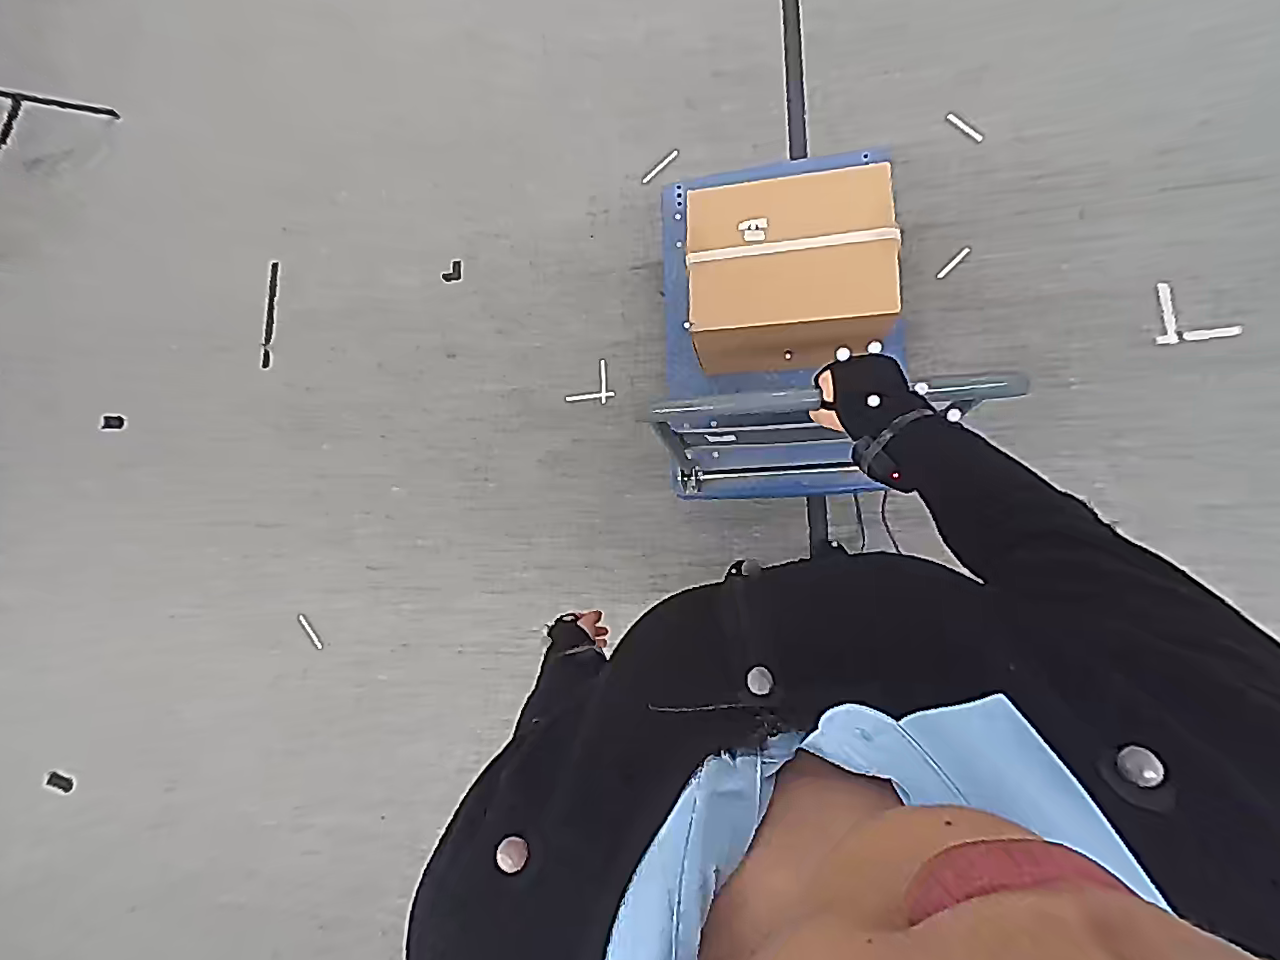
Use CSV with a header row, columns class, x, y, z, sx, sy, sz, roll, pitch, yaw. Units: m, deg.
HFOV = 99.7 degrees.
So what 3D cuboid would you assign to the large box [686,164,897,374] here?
class,x,y,z,sx,sy,sz,roll,pitch,yaw
large box,0.333,-0.450,1.243,0.408,0.320,0.320,-3,82,13
